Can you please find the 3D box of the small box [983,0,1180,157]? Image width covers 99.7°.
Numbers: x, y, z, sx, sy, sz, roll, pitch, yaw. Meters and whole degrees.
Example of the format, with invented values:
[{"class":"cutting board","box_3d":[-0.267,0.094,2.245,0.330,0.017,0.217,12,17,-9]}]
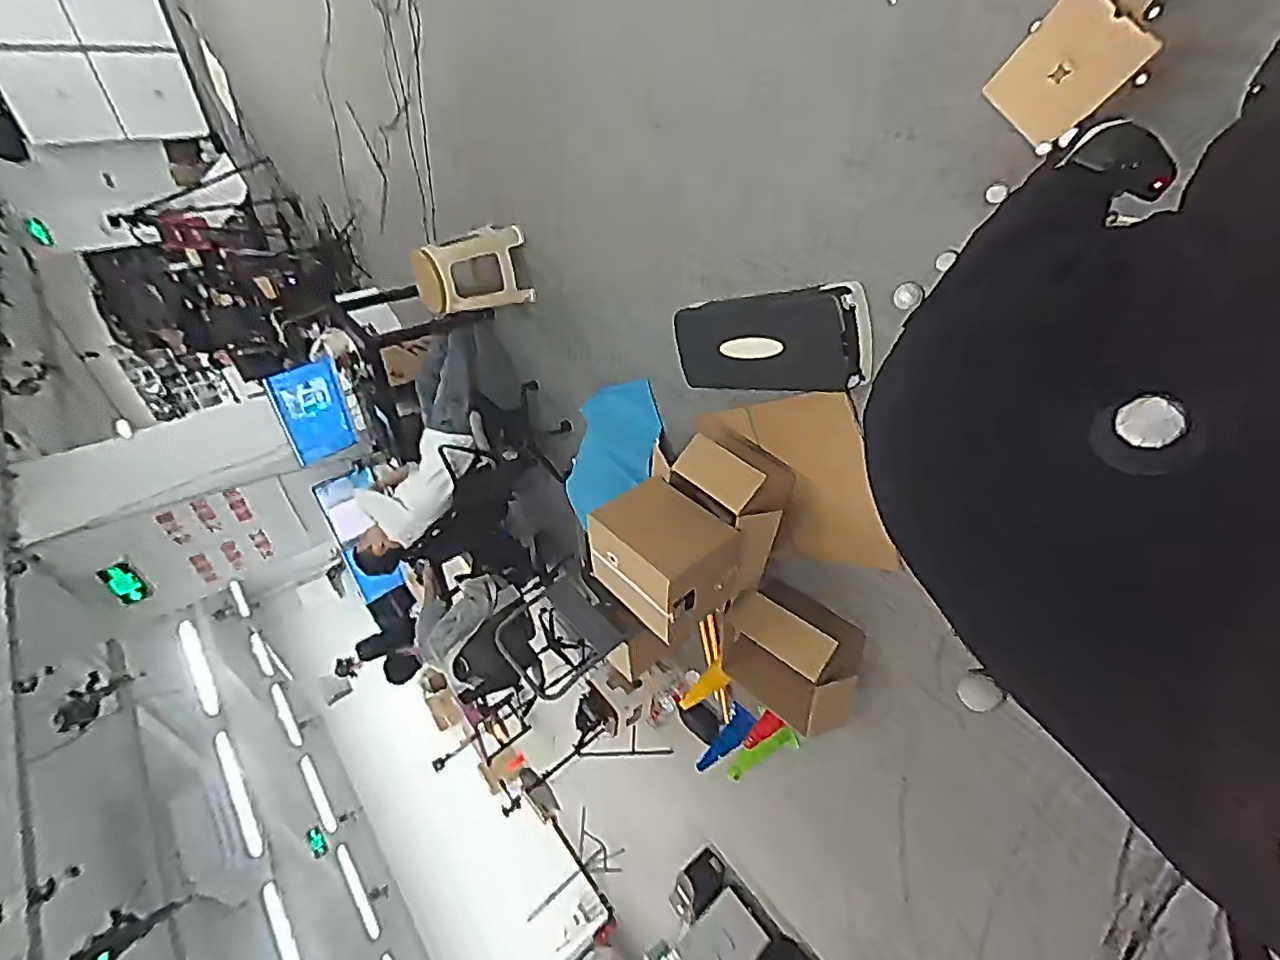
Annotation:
[{"class":"small box","box_3d":[0.736,-0.681,0.905,0.168,0.176,0.179,55,147,10]}]
